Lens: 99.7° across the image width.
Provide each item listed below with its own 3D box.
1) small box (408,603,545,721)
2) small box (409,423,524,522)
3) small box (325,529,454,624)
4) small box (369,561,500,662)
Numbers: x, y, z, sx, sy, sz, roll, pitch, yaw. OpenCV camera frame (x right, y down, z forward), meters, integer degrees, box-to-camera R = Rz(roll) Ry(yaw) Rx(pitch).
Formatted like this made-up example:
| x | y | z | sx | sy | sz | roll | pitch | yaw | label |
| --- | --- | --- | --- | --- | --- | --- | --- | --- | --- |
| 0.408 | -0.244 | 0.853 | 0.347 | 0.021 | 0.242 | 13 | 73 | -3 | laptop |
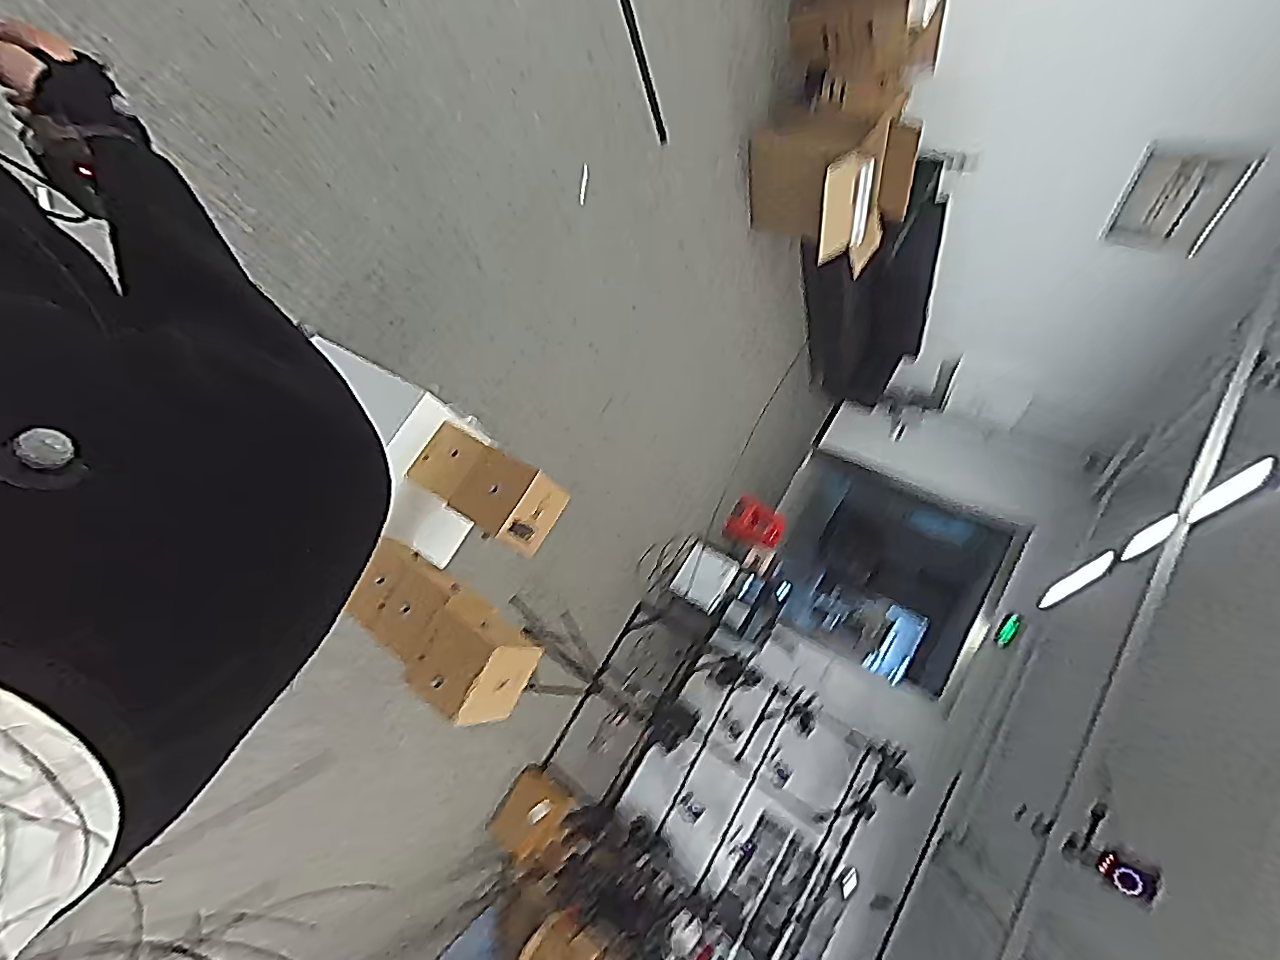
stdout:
| x | y | z | sx | sy | sz | roll | pitch | yaw | label |
| --- | --- | --- | --- | --- | --- | --- | --- | --- | --- |
| -0.337 | 0.367 | 1.116 | 0.168 | 0.176 | 0.179 | -62 | 153 | -4 | small box |
| -0.430 | -0.023 | 1.343 | 0.168 | 0.176 | 0.179 | -58 | 153 | -10 | small box |
| -0.589 | 0.234 | 1.277 | 0.168 | 0.176 | 0.179 | -61 | 153 | -9 | small box |
| -0.456 | 0.297 | 1.203 | 0.168 | 0.176 | 0.179 | -60 | 153 | -9 | small box |
